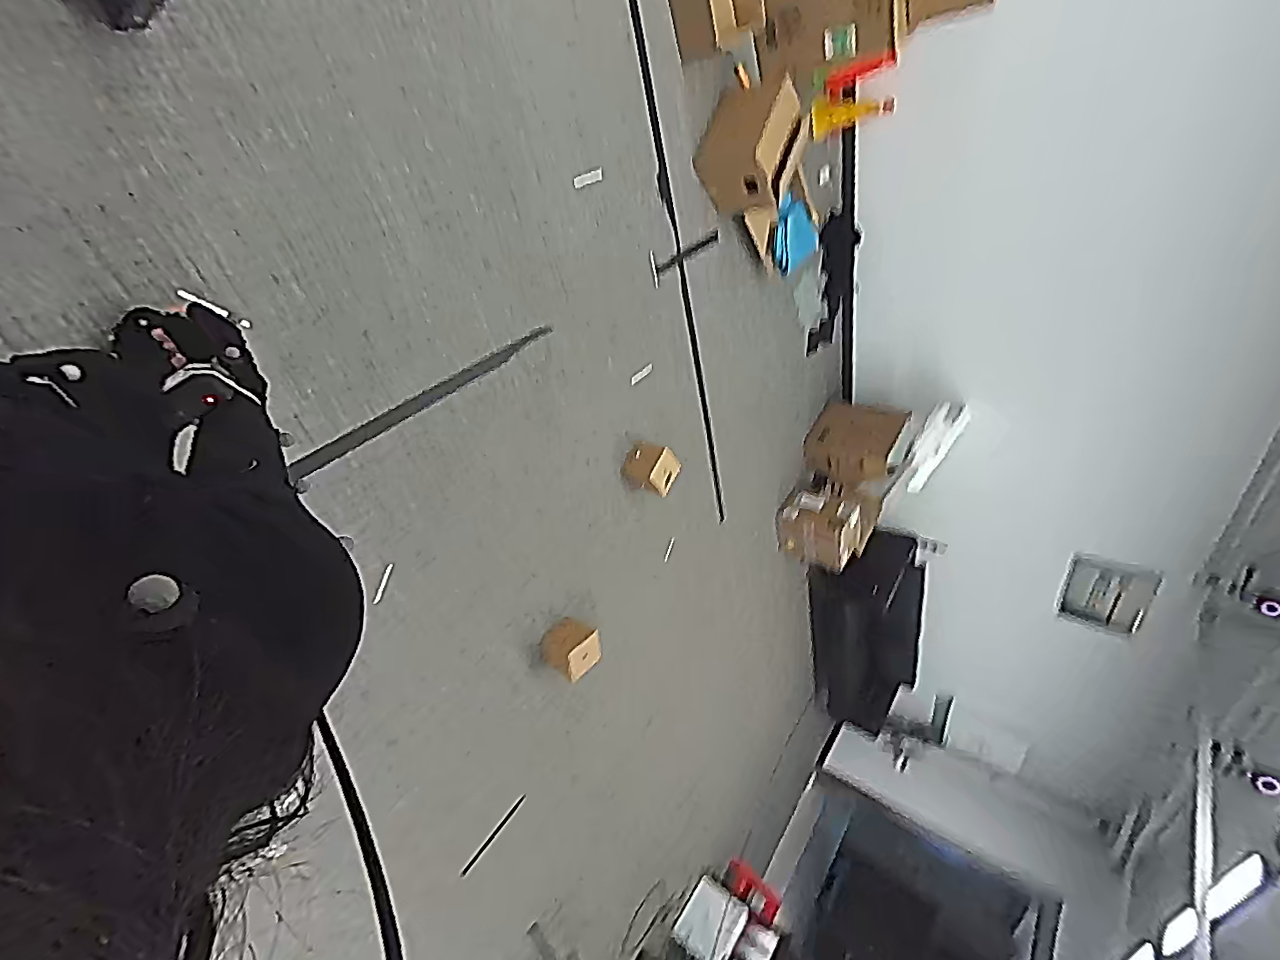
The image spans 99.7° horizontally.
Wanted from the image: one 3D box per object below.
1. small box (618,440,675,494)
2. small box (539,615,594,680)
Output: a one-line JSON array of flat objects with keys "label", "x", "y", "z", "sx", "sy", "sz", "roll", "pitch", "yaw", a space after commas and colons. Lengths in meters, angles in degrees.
[{"label": "small box", "x": 0.029, "y": -0.065, "z": 2.492, "sx": 0.168, "sy": 0.176, "sz": 0.179, "roll": -60, "pitch": 141, "yaw": -18}, {"label": "small box", "x": -0.322, "y": 0.719, "z": 2.338, "sx": 0.179, "sy": 0.176, "sz": 0.168, "roll": -32, "pitch": 129, "yaw": -44}]
